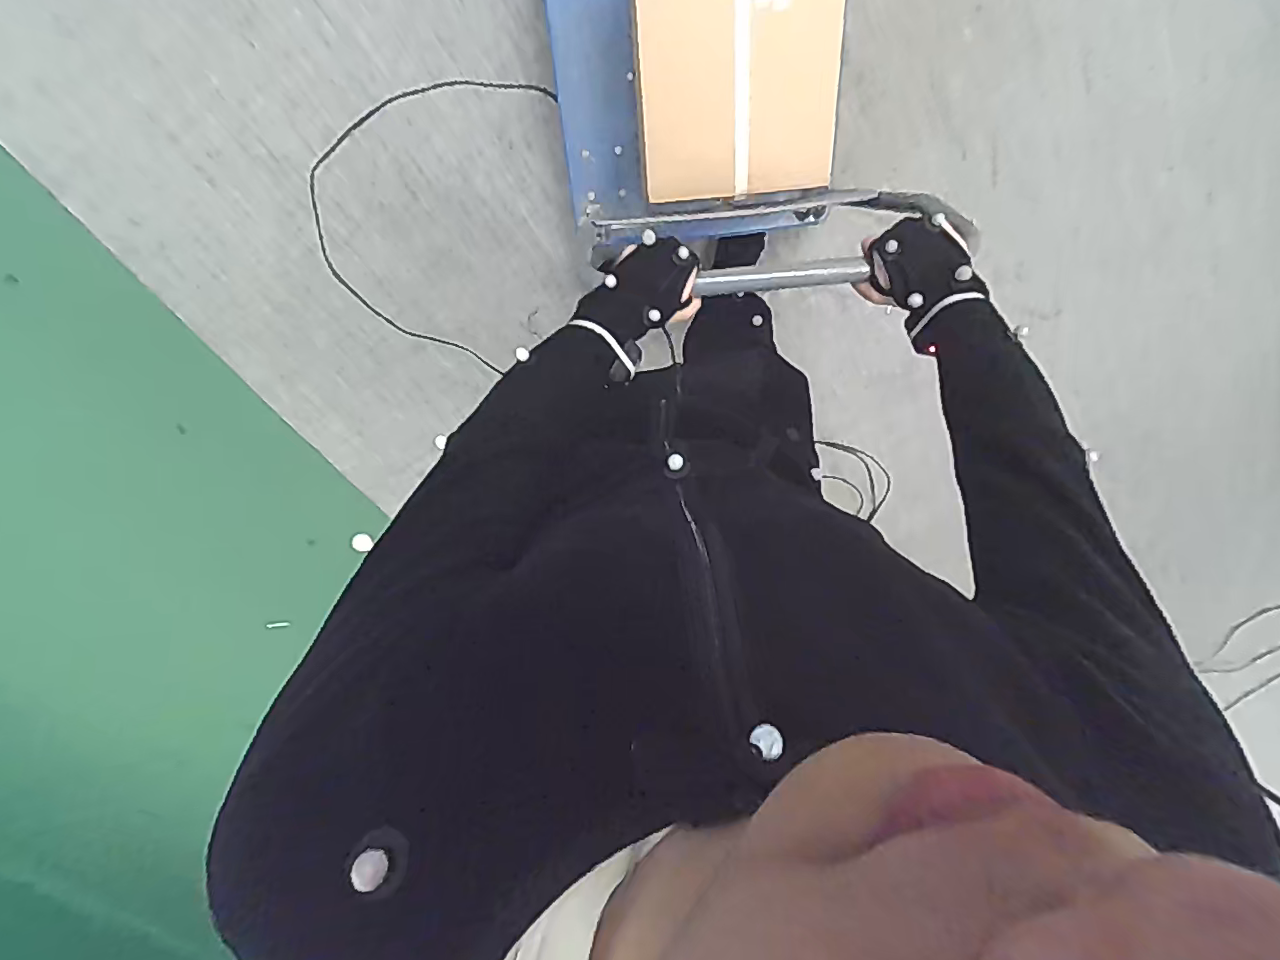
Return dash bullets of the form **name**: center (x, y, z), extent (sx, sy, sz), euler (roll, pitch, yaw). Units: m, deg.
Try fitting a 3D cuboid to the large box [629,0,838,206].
- **large box**: center (0.147, -0.732, 0.966), extent (0.320, 0.320, 0.408), euler (-5, 118, 1)
